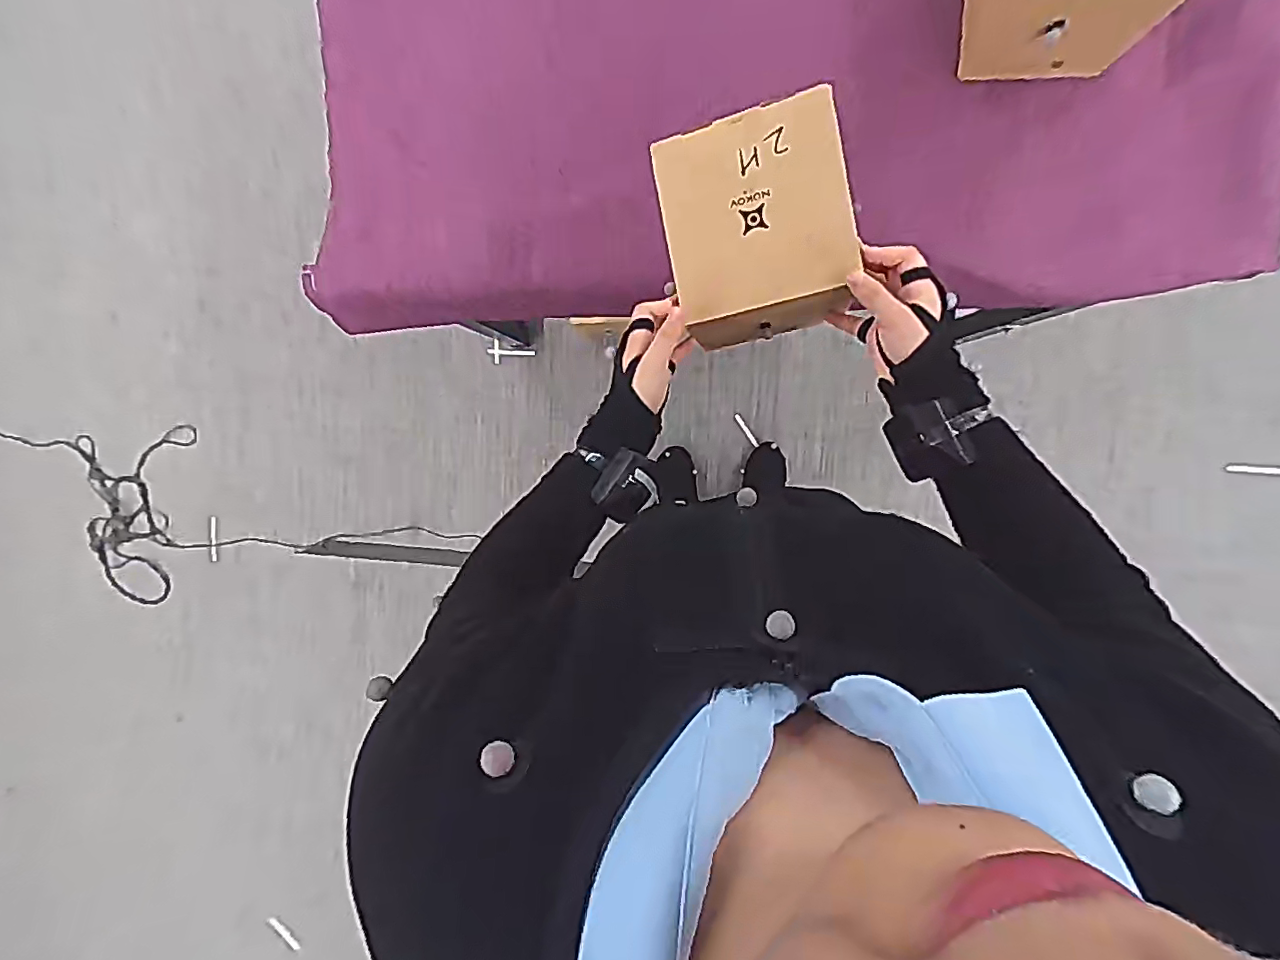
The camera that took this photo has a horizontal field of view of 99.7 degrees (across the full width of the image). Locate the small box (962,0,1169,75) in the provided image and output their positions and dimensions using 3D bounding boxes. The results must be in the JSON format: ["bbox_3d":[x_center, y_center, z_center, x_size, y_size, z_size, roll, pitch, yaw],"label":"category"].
[{"bbox_3d":[0.479,-0.579,0.589,0.168,0.176,0.179,2,95,6],"label":"small box"}]

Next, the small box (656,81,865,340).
[{"bbox_3d":[0.125,-0.254,0.565,0.168,0.176,0.179,-10,92,14],"label":"small box"}]
